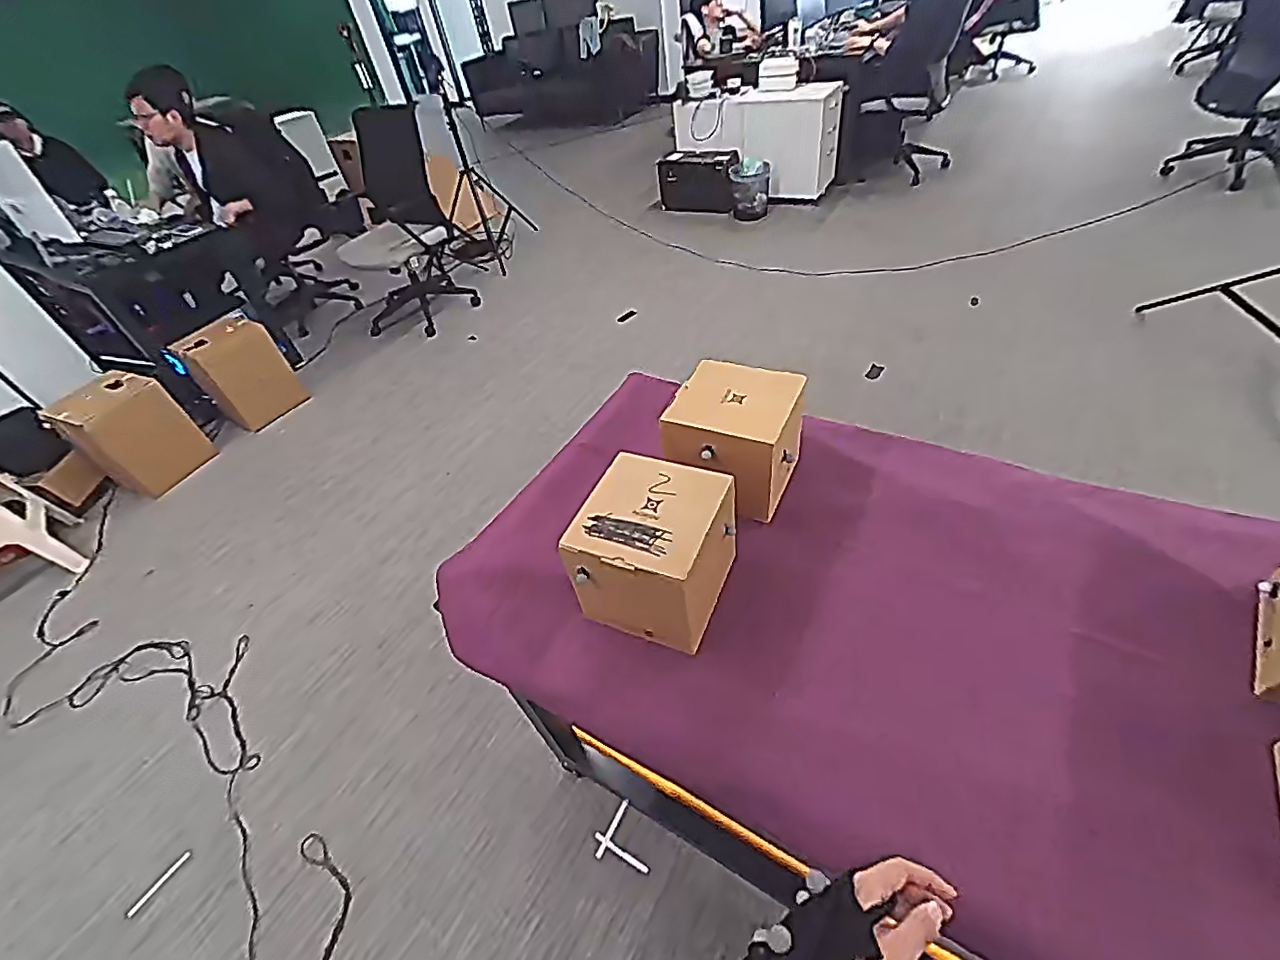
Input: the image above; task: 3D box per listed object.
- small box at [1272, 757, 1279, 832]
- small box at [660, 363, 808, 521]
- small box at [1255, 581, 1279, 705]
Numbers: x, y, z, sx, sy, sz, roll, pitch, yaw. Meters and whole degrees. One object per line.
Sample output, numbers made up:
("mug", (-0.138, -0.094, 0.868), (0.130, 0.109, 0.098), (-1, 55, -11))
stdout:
("small box", (0.654, 0.289, 0.406), (0.179, 0.176, 0.168), (20, 50, 29))
("small box", (0.152, -0.059, 0.859), (0.179, 0.176, 0.168), (15, 50, 24))
("small box", (0.757, 0.159, 0.517), (0.179, 0.176, 0.168), (25, 56, 30))
